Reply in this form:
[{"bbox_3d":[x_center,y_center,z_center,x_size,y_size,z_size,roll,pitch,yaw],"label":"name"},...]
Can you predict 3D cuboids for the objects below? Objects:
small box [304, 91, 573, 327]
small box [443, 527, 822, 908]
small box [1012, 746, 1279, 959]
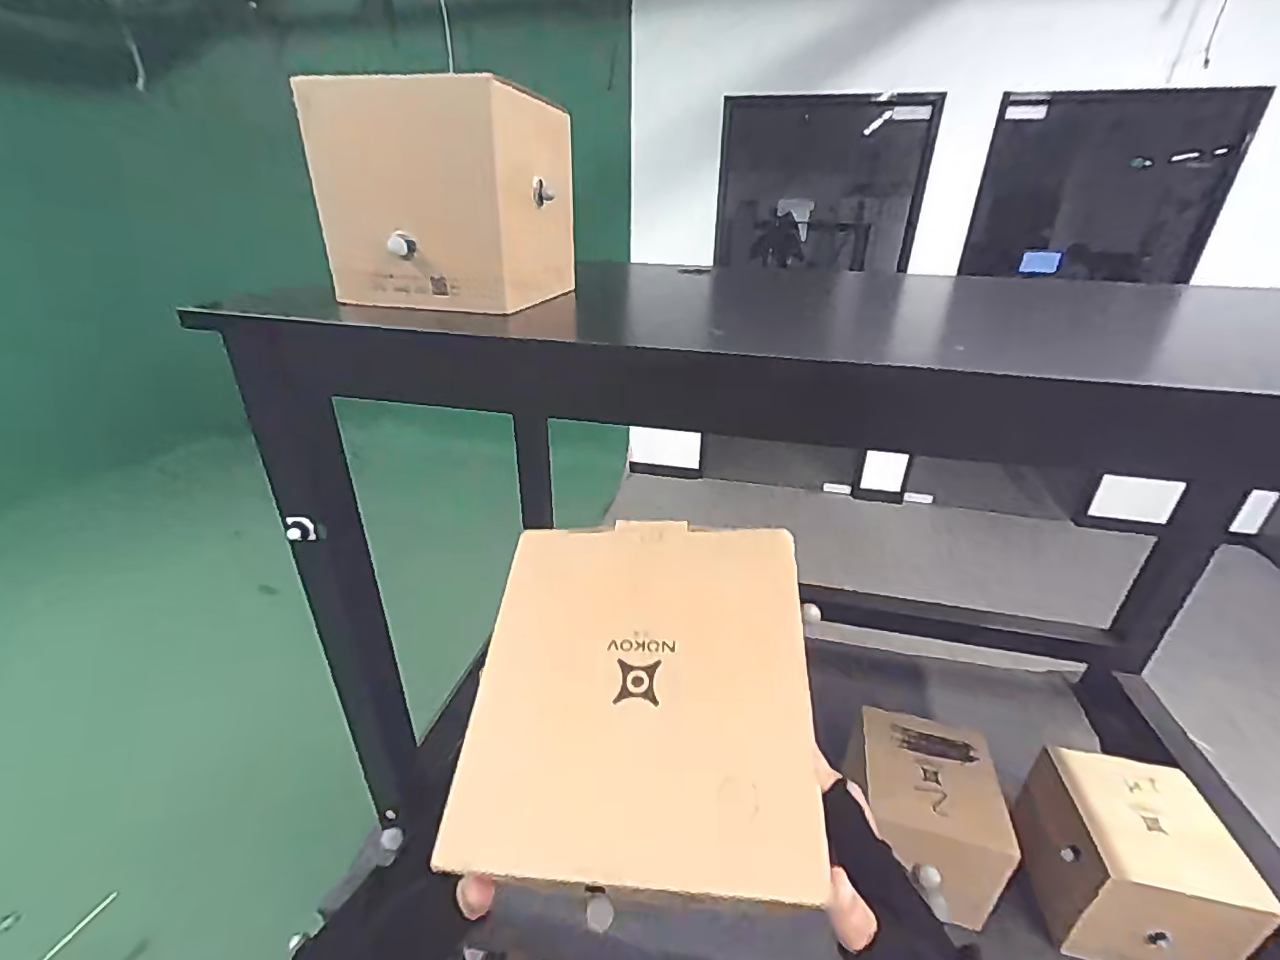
[{"bbox_3d":[-0.167,-0.250,0.511,0.168,0.176,0.179,6,28,10],"label":"small box"},{"bbox_3d":[0.011,0.148,0.335,0.168,0.176,0.179,-1,49,8],"label":"small box"},{"bbox_3d":[0.619,0.485,0.693,0.168,0.176,0.179,6,25,11],"label":"small box"}]
